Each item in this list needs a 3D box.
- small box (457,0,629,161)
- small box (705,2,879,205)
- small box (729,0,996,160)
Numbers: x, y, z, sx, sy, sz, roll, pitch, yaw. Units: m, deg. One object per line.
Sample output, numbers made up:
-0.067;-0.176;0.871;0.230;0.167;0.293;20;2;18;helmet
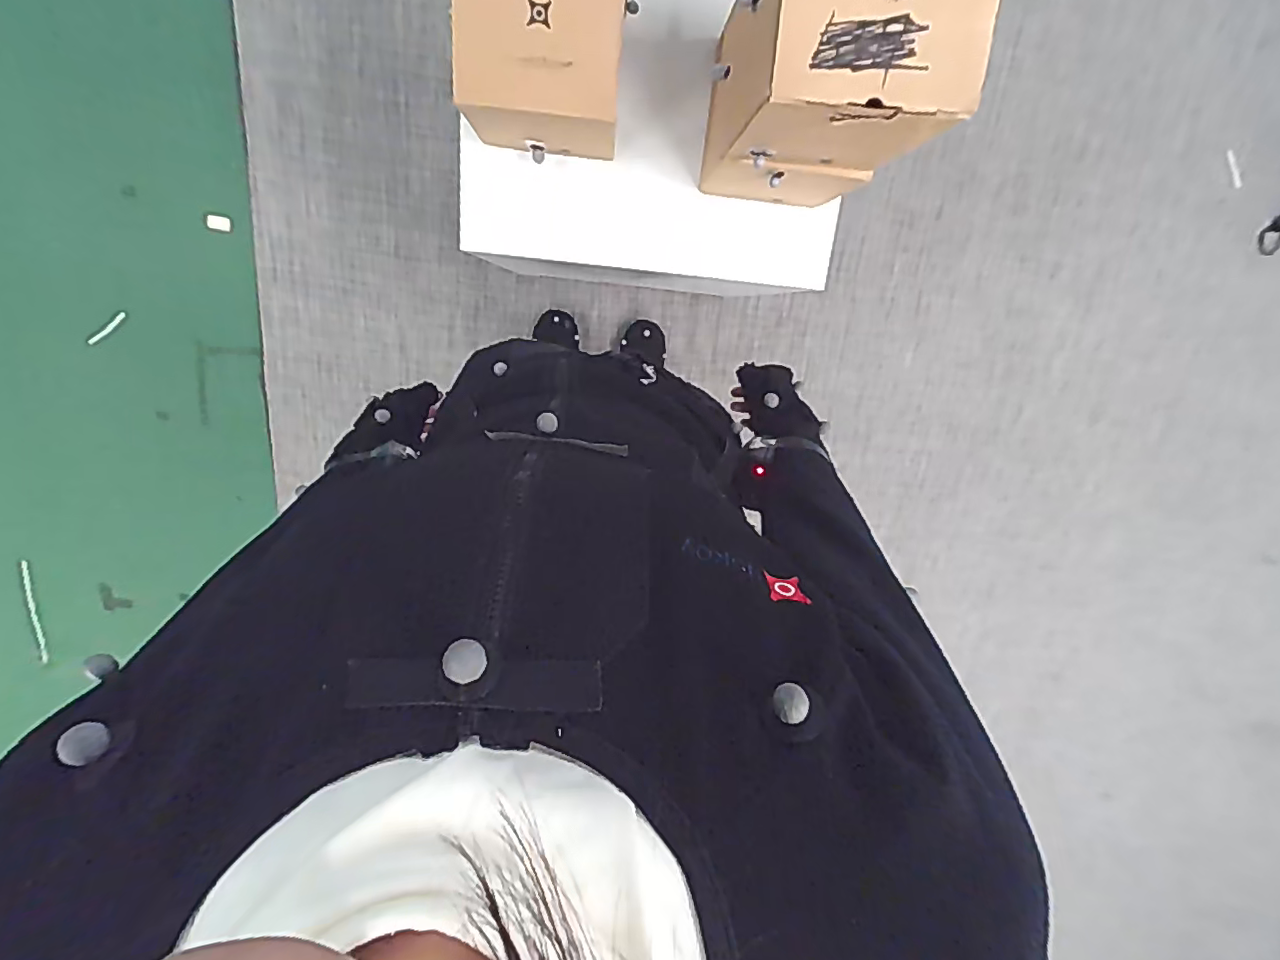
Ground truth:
-0.098;-0.477;0.597;0.168;0.176;0.179;3;109;-4;small box
0.175;-0.437;0.623;0.168;0.176;0.179;5;107;-4;small box
0.177;-0.393;0.464;0.168;0.176;0.179;2;107;-3;small box
